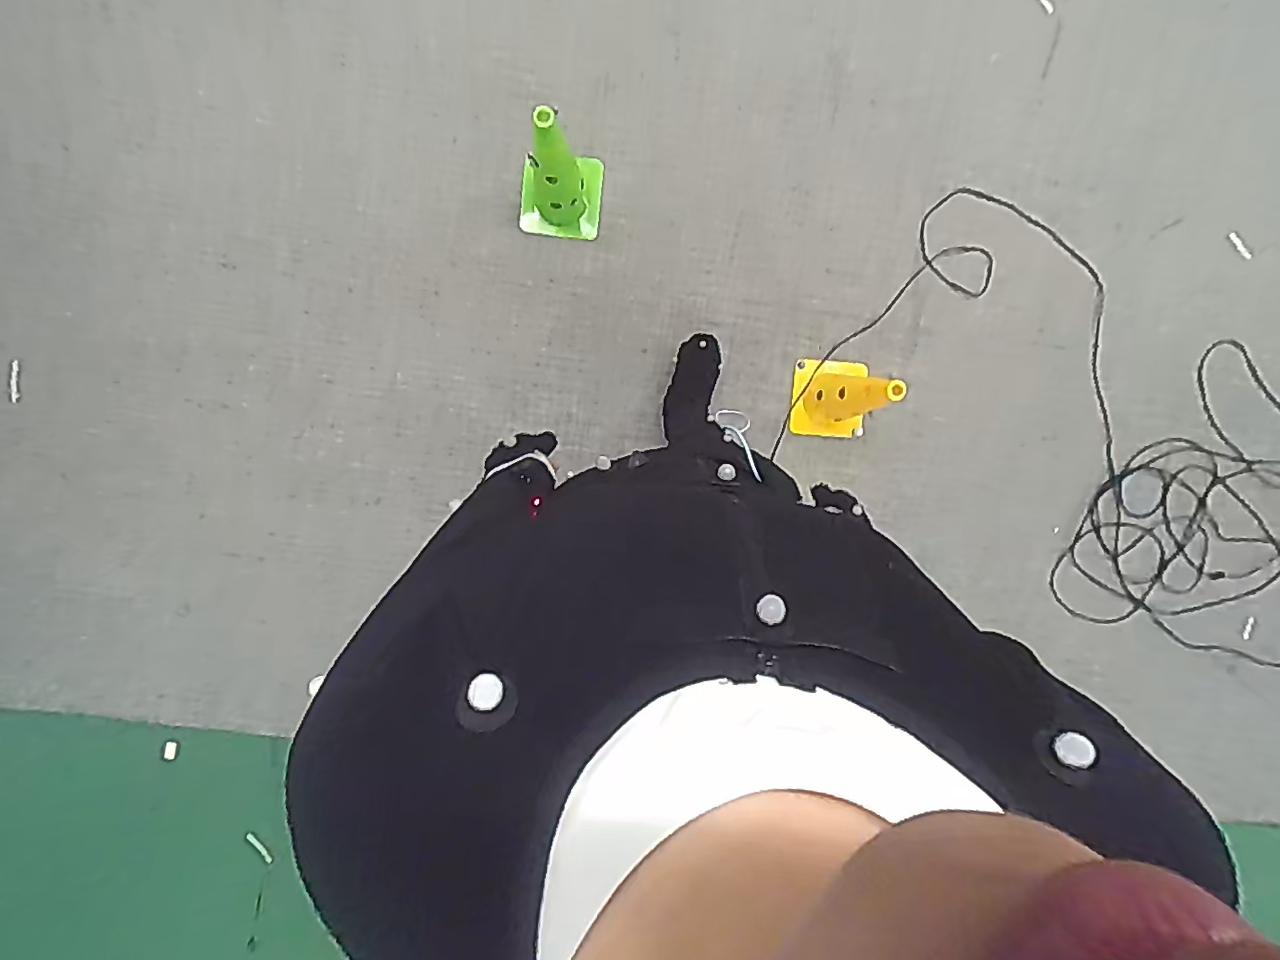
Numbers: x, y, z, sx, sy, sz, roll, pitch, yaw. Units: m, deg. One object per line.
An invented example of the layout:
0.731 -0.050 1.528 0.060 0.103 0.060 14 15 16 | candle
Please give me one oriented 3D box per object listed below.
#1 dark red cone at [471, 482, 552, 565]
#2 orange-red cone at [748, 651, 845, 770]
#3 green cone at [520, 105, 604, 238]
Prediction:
-0.327 0.126 1.259 0.202 0.394 0.201 2 97 -3 | dark red cone
0.421 0.602 1.362 0.198 0.360 0.199 7 95 -4 | orange-red cone
-0.188 -0.709 1.204 0.202 0.368 0.200 5 96 -4 | green cone
